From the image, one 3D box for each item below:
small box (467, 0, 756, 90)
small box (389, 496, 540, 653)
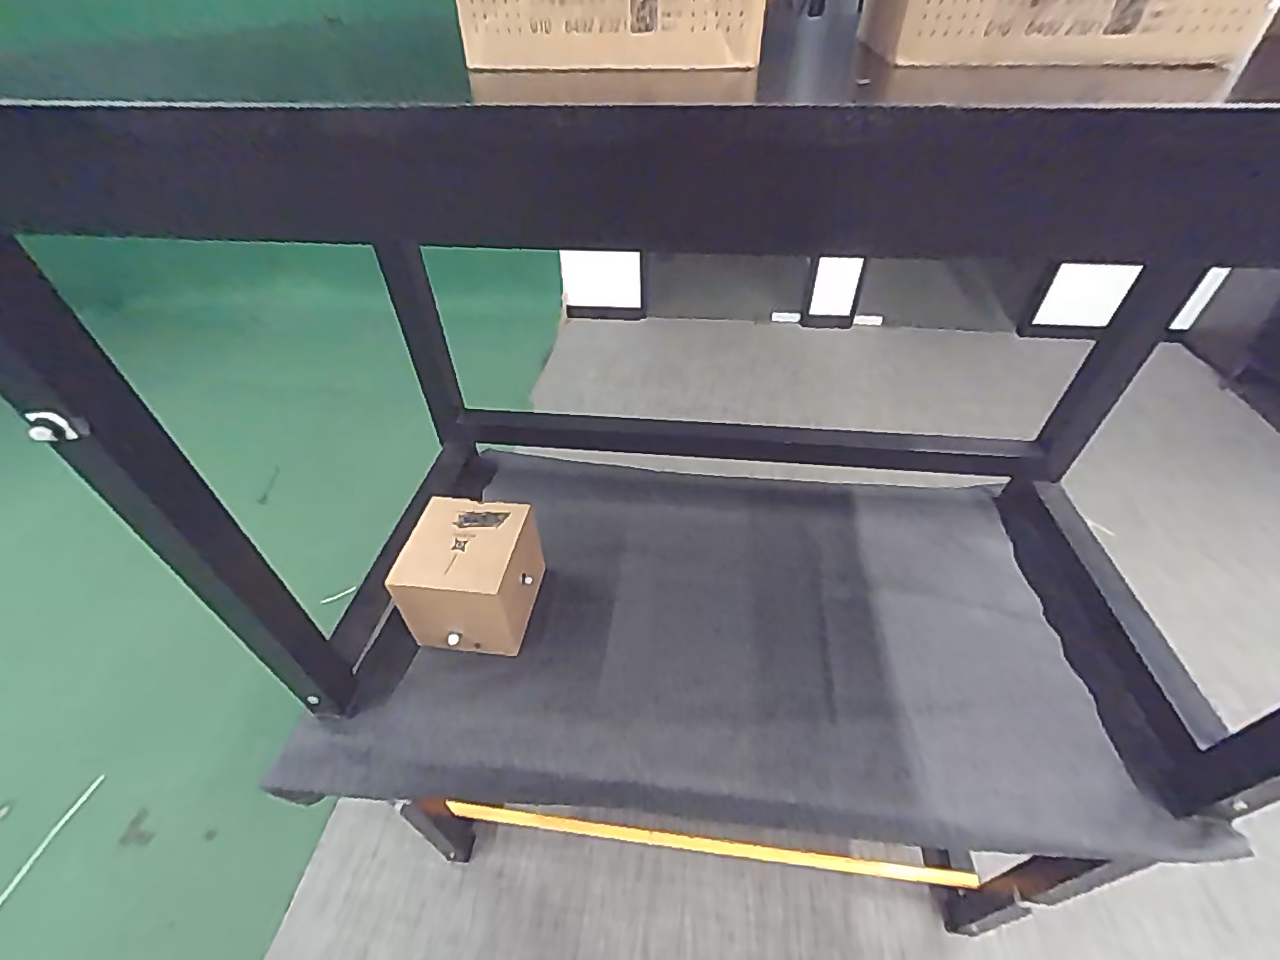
[{"bbox_3d":[-0.010,-0.346,0.325,0.168,0.176,0.179,5,42,6],"label":"small box"},{"bbox_3d":[-0.264,0.150,0.865,0.168,0.176,0.179,4,43,5],"label":"small box"}]
